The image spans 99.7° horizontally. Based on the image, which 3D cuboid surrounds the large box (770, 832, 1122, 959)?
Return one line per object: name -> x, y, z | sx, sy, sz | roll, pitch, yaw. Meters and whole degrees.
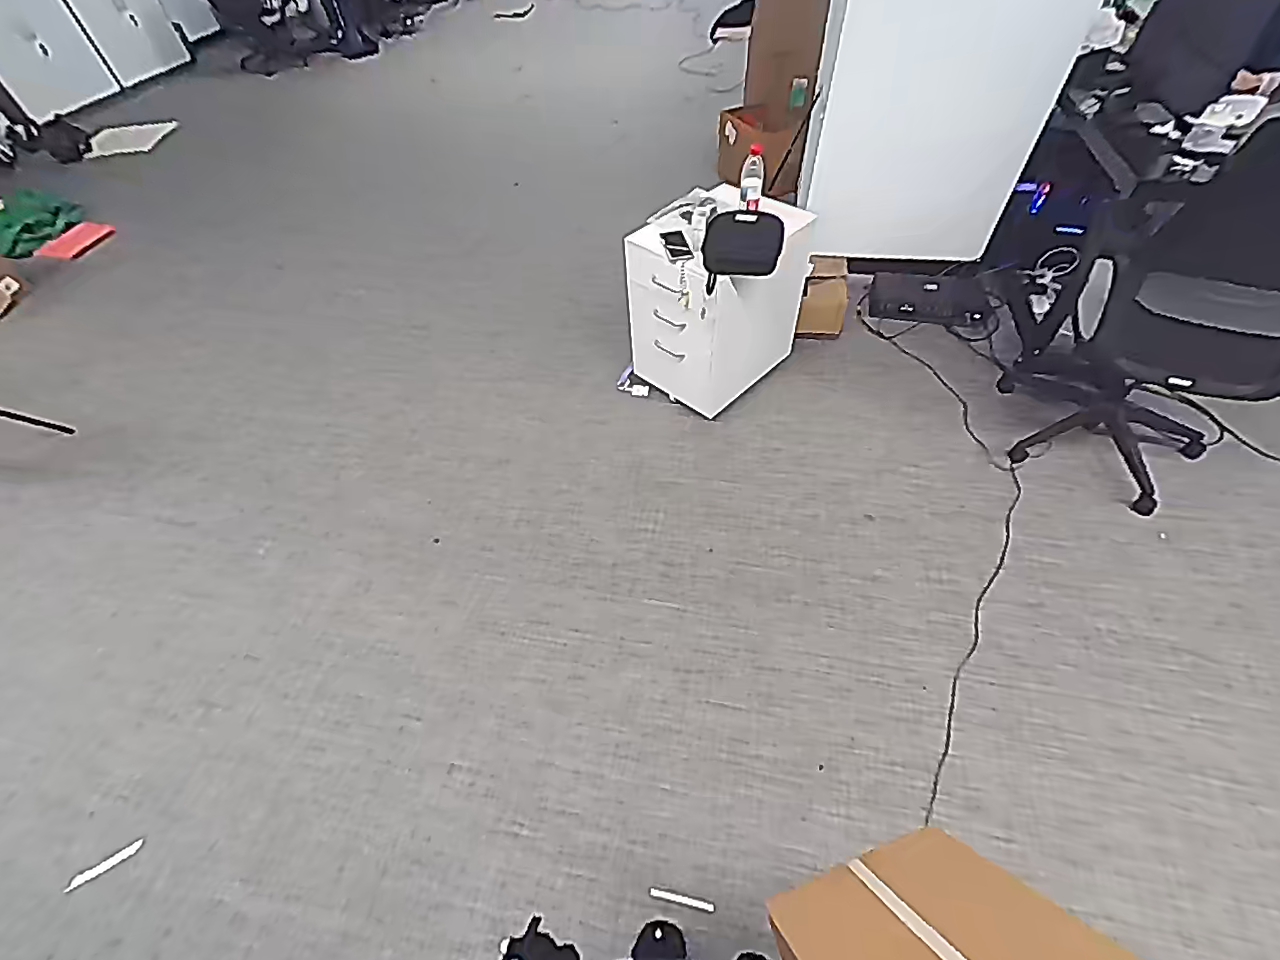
large box -> 0.412, 0.725, 0.650 | 0.320, 0.408, 0.320 | -17, 83, -10
